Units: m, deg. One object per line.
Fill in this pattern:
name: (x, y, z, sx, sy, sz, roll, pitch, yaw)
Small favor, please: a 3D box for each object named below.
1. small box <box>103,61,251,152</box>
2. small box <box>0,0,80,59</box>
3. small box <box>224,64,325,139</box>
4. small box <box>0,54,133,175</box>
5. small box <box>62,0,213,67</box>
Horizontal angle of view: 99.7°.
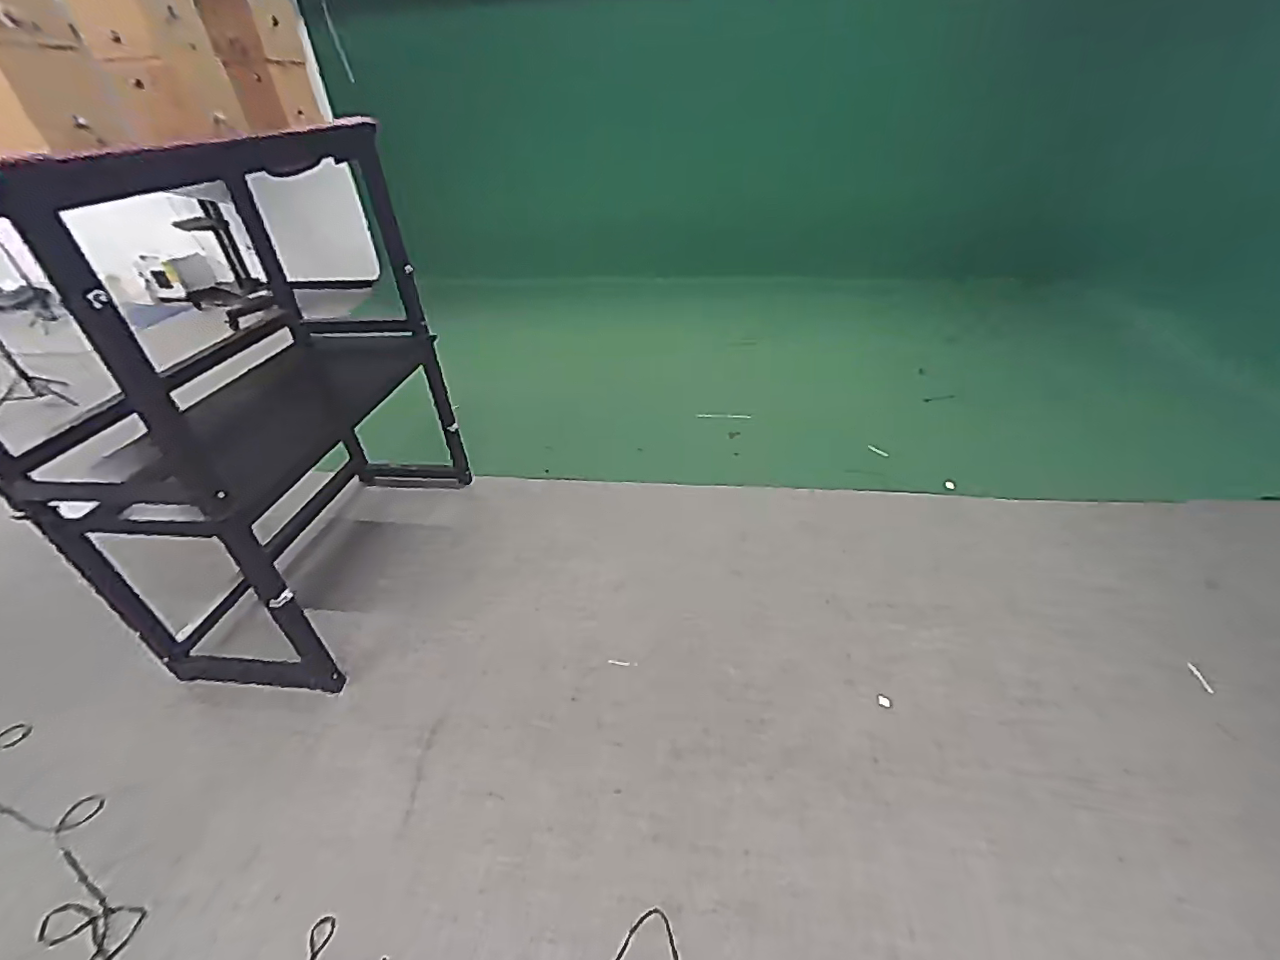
small box: (-1.096, -0.893, 1.297, 0.179, 0.176, 0.168, 3, 37, 7)
small box: (-1.130, -0.803, 0.903, 0.179, 0.176, 0.168, 2, 38, 9)
small box: (-1.063, -1.095, 1.567, 0.179, 0.176, 0.168, 4, 38, 8)
small box: (-1.120, -0.671, 0.997, 0.179, 0.176, 0.168, 0, 37, 7)
small box: (-1.115, -1.025, 1.201, 0.179, 0.176, 0.168, 3, 37, 7)
